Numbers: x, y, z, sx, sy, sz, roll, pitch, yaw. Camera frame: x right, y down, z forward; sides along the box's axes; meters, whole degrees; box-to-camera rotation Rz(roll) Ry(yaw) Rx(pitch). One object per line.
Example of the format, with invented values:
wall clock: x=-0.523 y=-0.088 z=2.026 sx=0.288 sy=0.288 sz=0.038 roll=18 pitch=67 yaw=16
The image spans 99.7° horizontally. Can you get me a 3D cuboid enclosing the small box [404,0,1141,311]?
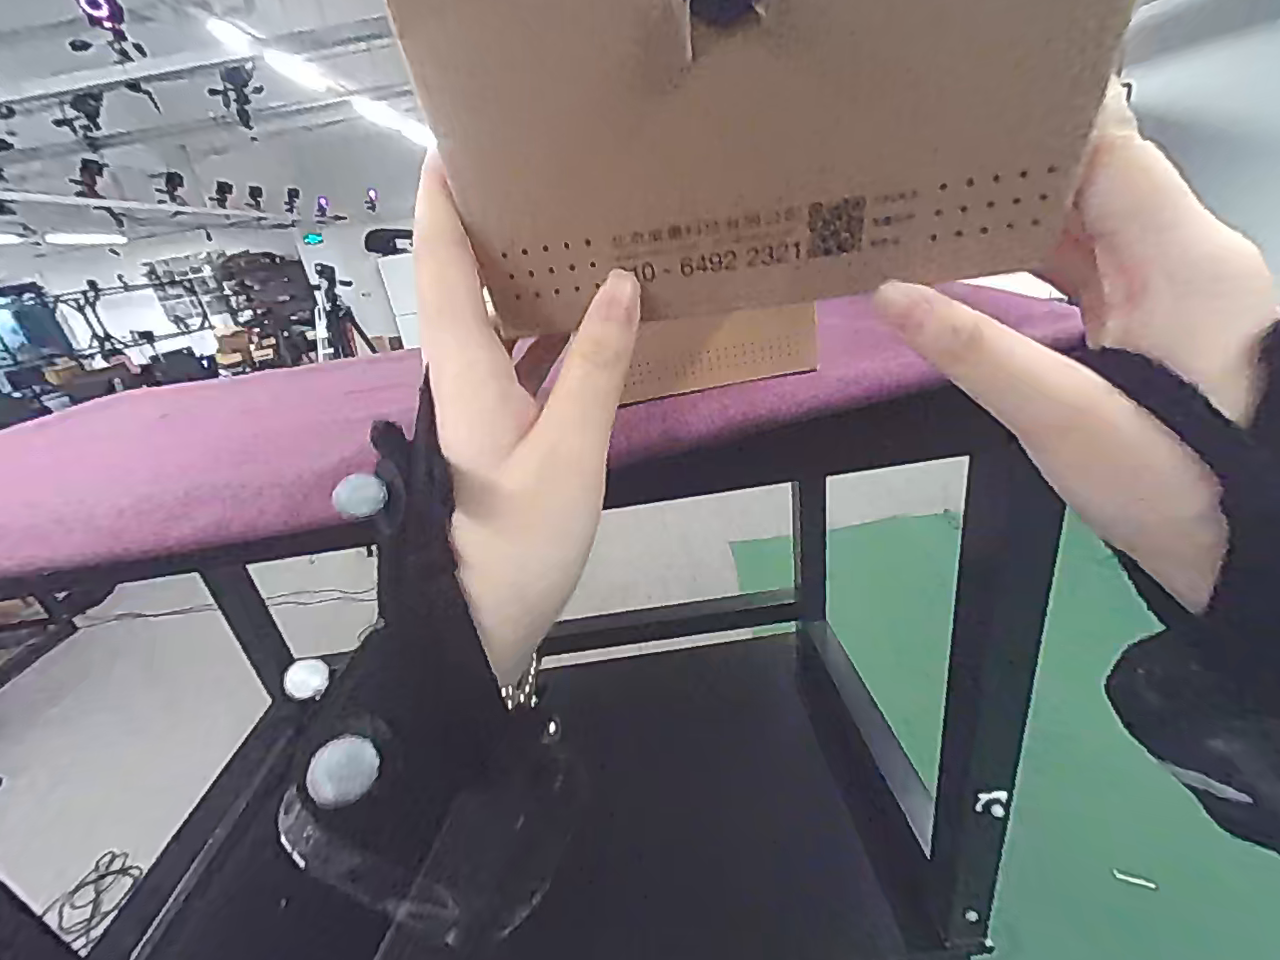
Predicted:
small box: x=0.032 y=-0.164 z=0.170 sx=0.168 sy=0.176 sz=0.179 roll=-4 pitch=41 yaw=8
